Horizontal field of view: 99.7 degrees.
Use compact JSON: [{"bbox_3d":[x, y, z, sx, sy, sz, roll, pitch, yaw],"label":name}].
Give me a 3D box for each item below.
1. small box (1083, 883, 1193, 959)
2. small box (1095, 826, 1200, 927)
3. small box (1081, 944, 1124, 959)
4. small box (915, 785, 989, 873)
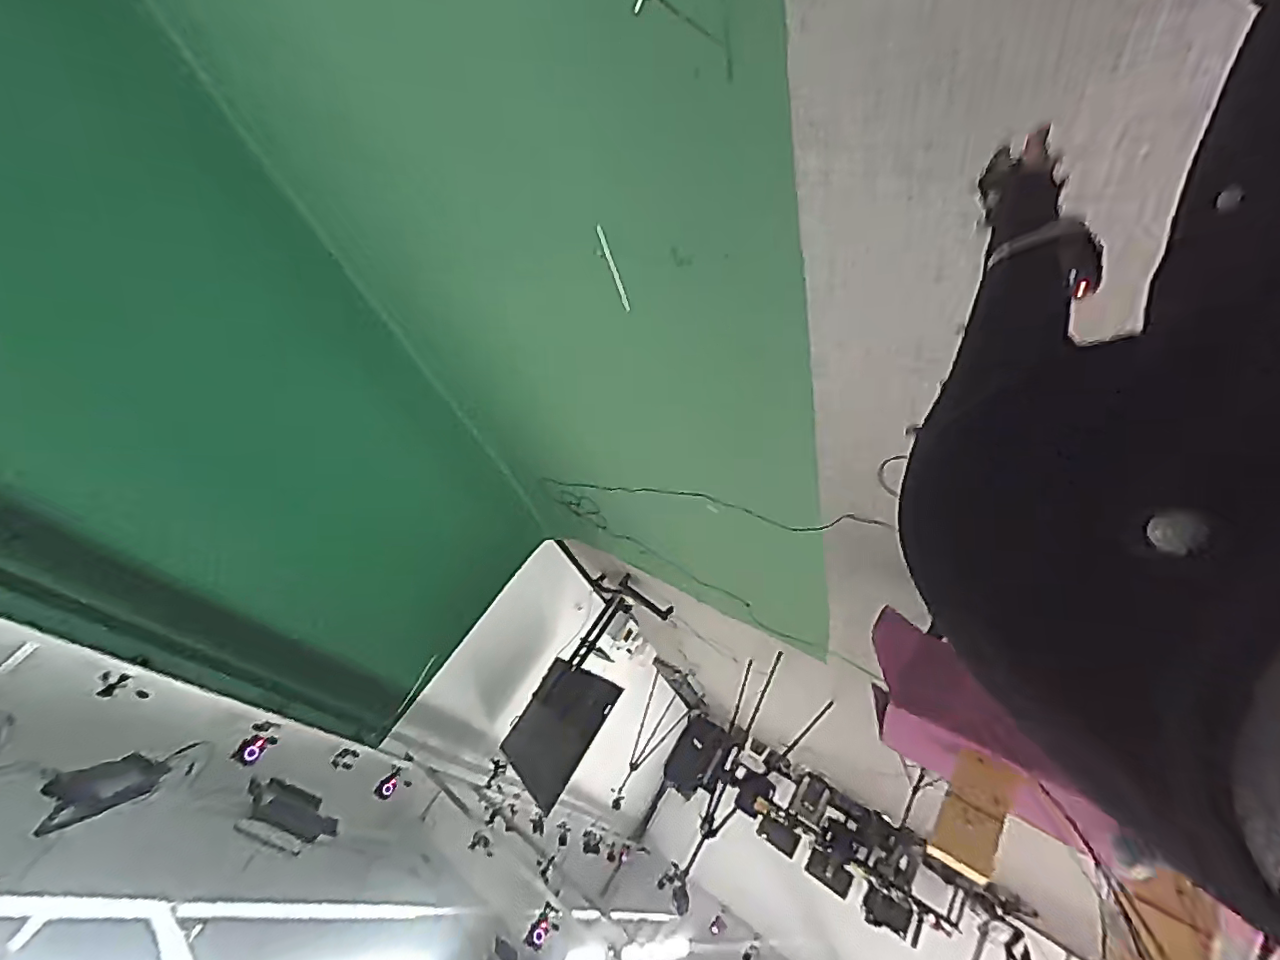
[{"bbox_3d":[1.372,1.258,1.492,0.179,0.176,0.168,21,153,35],"label":"small box"},{"bbox_3d":[1.462,1.139,1.559,0.179,0.176,0.168,19,152,35],"label":"small box"},{"bbox_3d":[1.283,1.381,1.433,0.168,0.176,0.179,23,155,33],"label":"small box"},{"bbox_3d":[1.005,1.124,1.745,0.168,0.176,0.179,18,152,35],"label":"small box"}]
